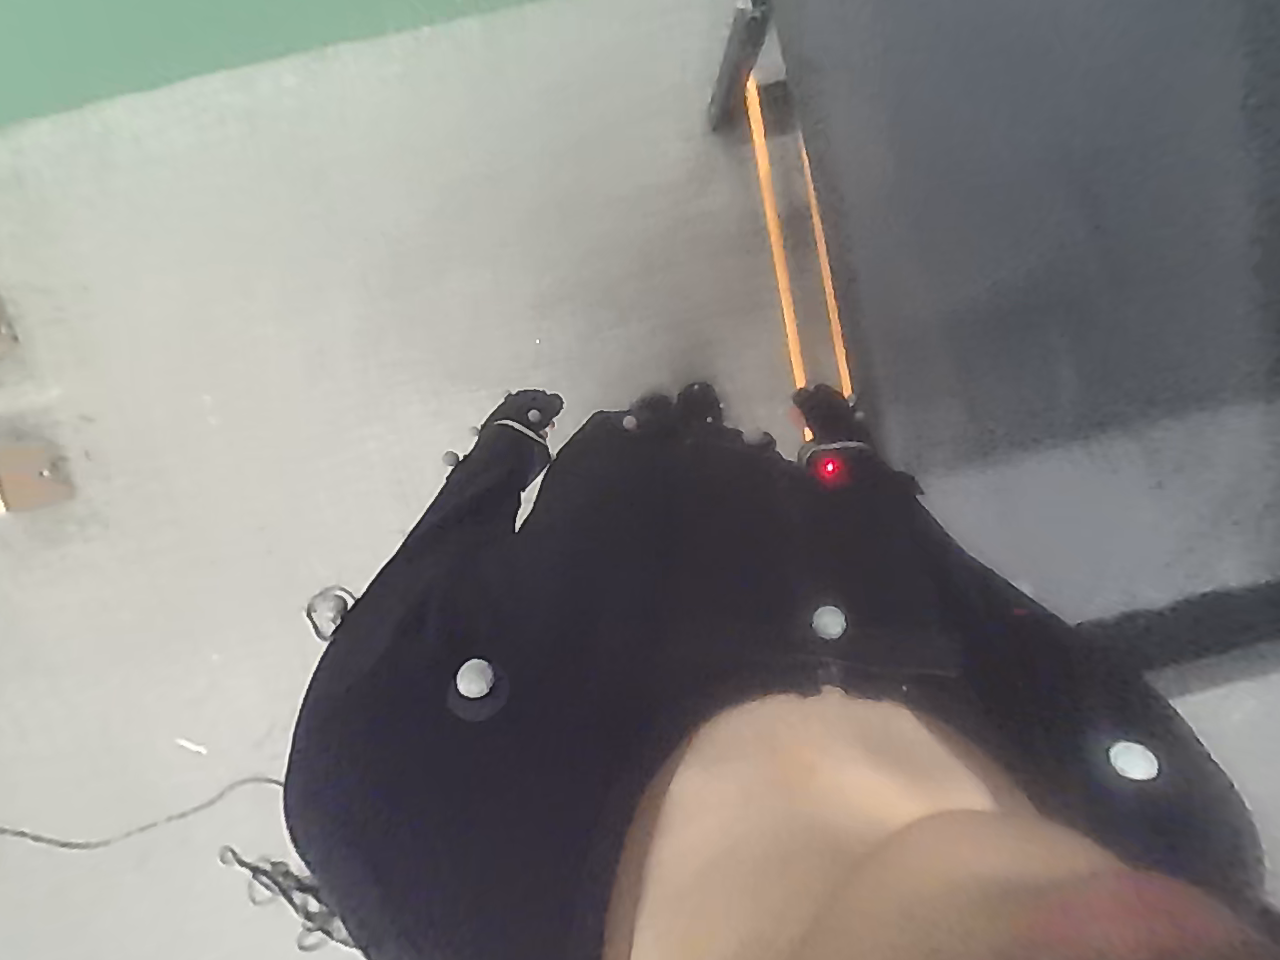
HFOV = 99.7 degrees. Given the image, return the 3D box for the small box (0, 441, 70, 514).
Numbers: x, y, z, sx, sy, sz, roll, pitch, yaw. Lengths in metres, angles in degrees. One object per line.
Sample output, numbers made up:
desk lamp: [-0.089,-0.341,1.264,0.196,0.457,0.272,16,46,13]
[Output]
small box: [-1.609,0.002,1.346,0.179,0.176,0.168,-12,100,0]

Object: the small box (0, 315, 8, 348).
small box: [-1.686,-0.388,1.285,0.179,0.176,0.168,-17,99,2]
